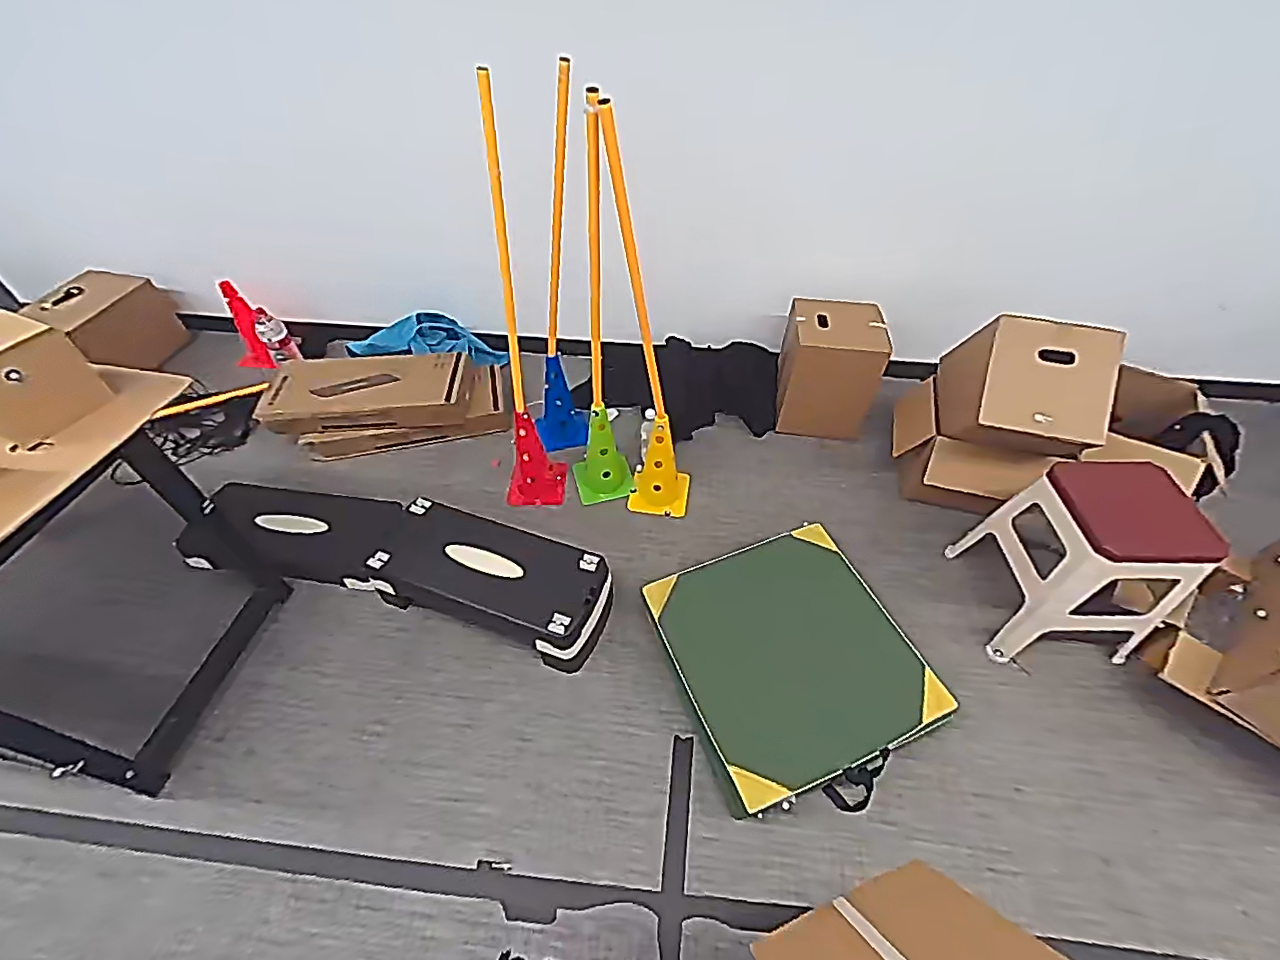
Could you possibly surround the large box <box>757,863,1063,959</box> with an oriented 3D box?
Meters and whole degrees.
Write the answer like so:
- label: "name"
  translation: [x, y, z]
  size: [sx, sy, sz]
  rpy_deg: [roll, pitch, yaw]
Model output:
- label: "large box"
  translation: [0.393, 0.758, 0.632]
  size: [0.320, 0.408, 0.320]
  rpy_deg: [-17, 81, -13]
